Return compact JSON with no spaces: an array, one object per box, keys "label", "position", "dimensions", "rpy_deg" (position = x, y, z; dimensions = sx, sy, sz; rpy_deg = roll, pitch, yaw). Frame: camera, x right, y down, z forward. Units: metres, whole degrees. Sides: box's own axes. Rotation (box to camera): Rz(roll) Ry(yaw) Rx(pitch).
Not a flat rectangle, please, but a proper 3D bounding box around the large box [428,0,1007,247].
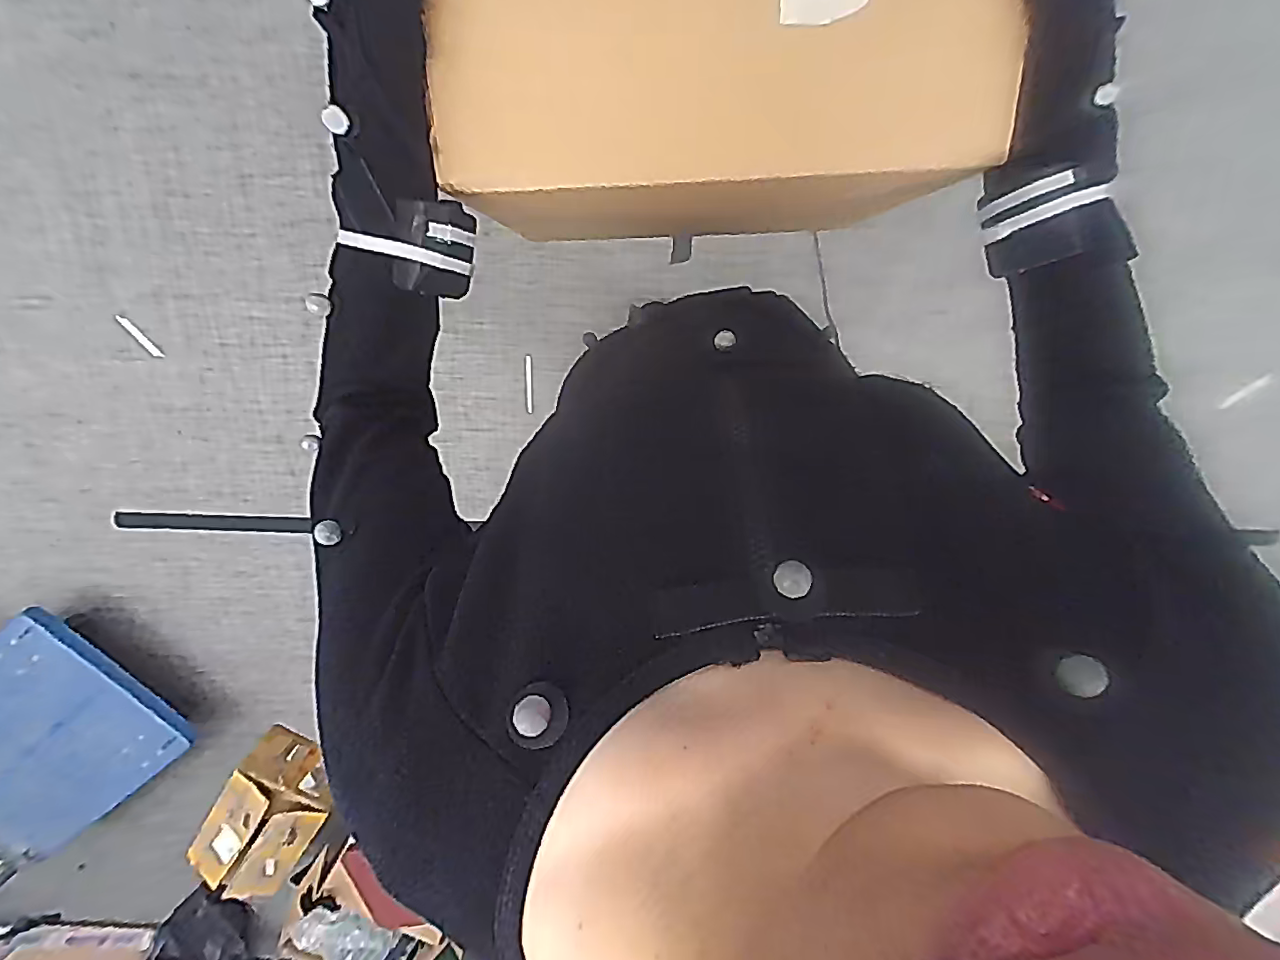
[{"label":"large box","position":[0.049,-0.412,0.500],"dimensions":[0.408,0.320,0.320],"rpy_deg":[-3,107,1]}]
